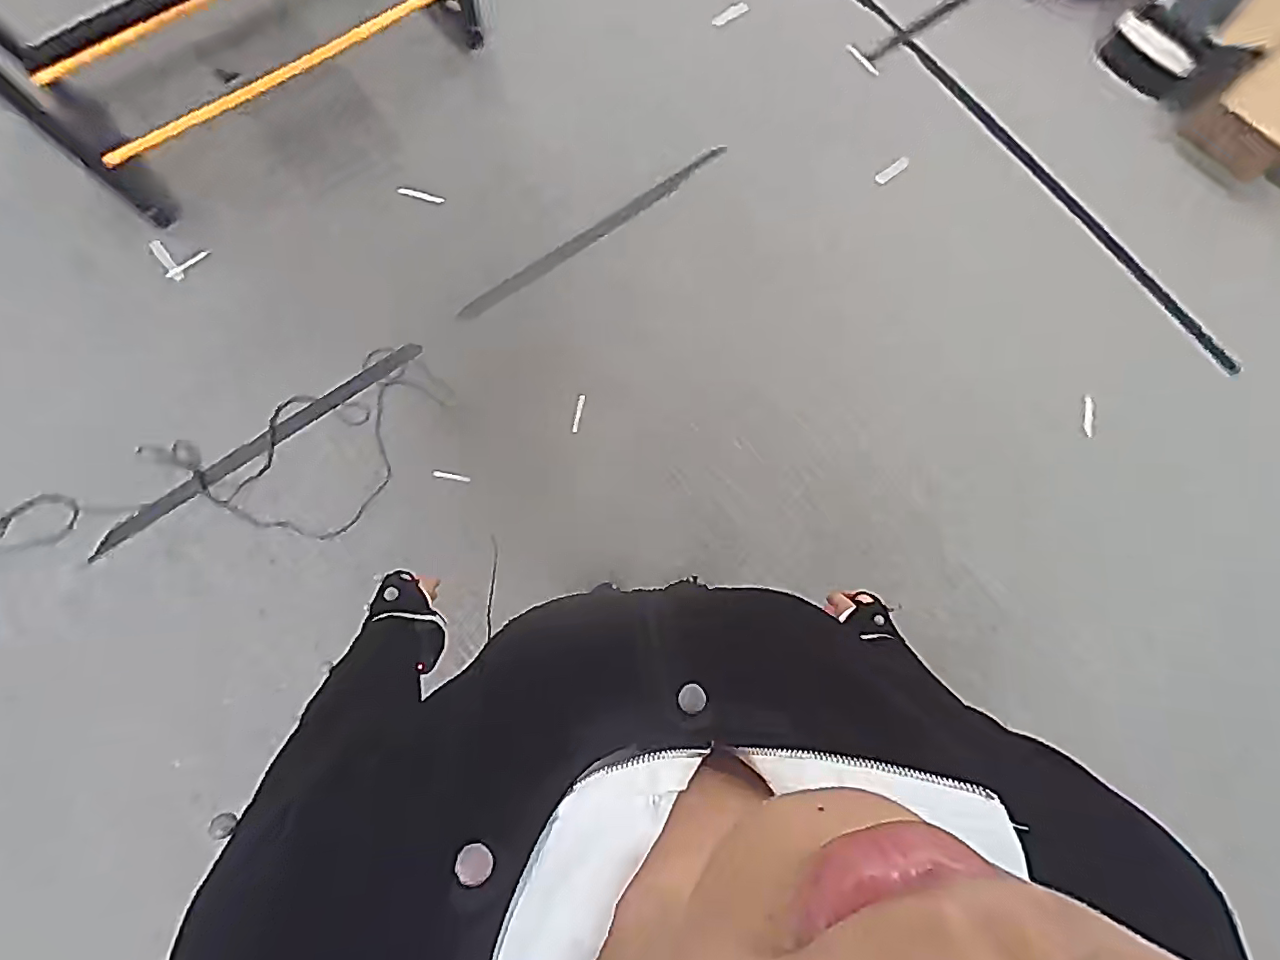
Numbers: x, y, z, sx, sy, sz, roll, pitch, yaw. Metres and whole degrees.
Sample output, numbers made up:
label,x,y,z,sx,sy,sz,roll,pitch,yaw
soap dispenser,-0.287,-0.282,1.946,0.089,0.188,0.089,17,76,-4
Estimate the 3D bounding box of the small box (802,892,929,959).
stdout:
label,x,y,z,sx,sy,sz,roll,pitch,yaw
small box,0.387,0.806,0.841,0.168,0.176,0.179,-36,80,-8
